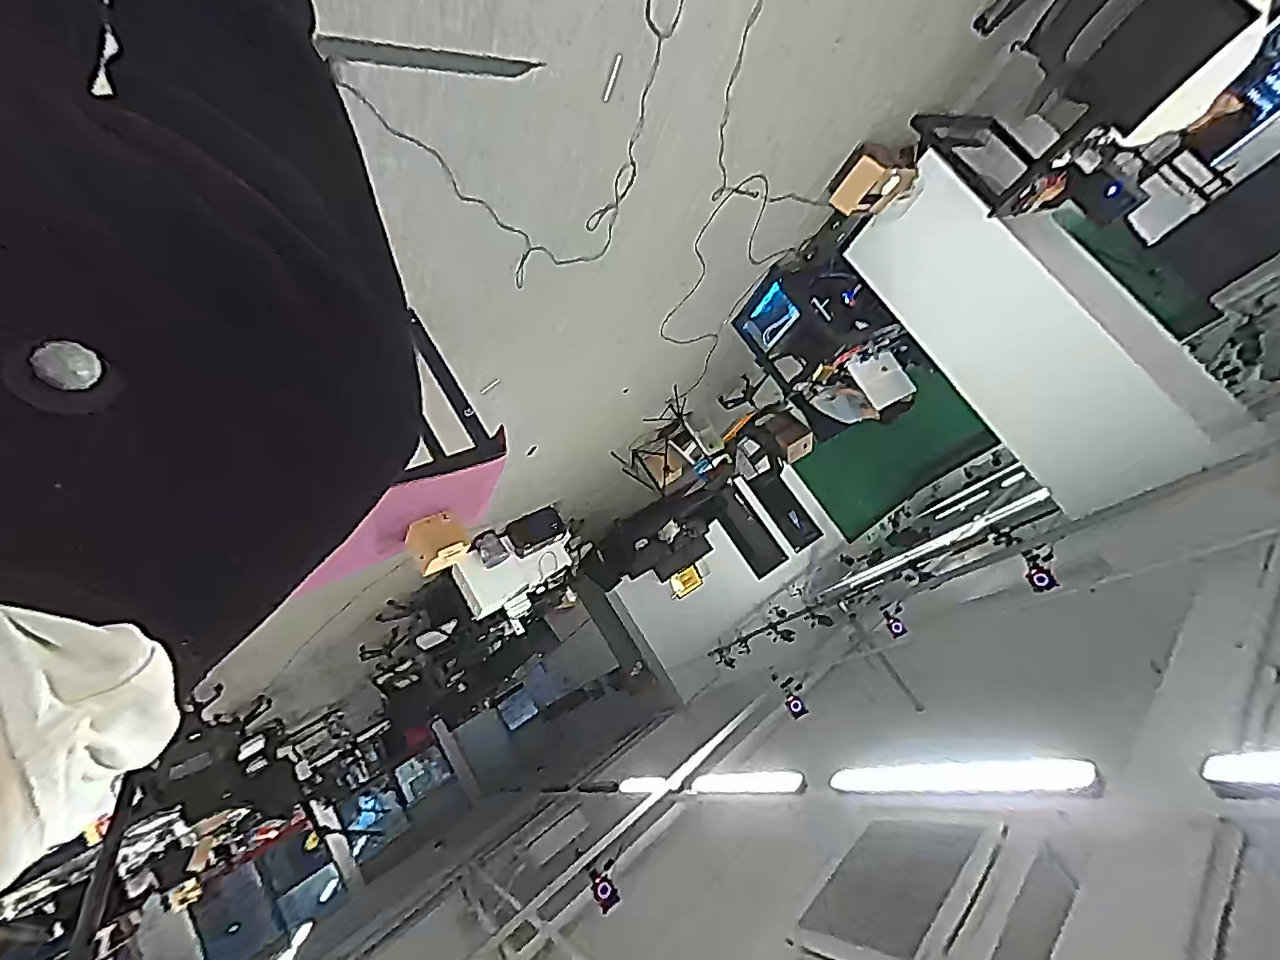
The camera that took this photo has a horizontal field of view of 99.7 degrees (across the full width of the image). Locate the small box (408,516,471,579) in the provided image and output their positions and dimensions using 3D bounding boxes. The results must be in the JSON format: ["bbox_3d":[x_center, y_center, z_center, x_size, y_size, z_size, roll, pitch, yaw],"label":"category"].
[{"bbox_3d":[-0.797,0.259,2.134,0.168,0.176,0.179,-22,163,-40],"label":"small box"}]
